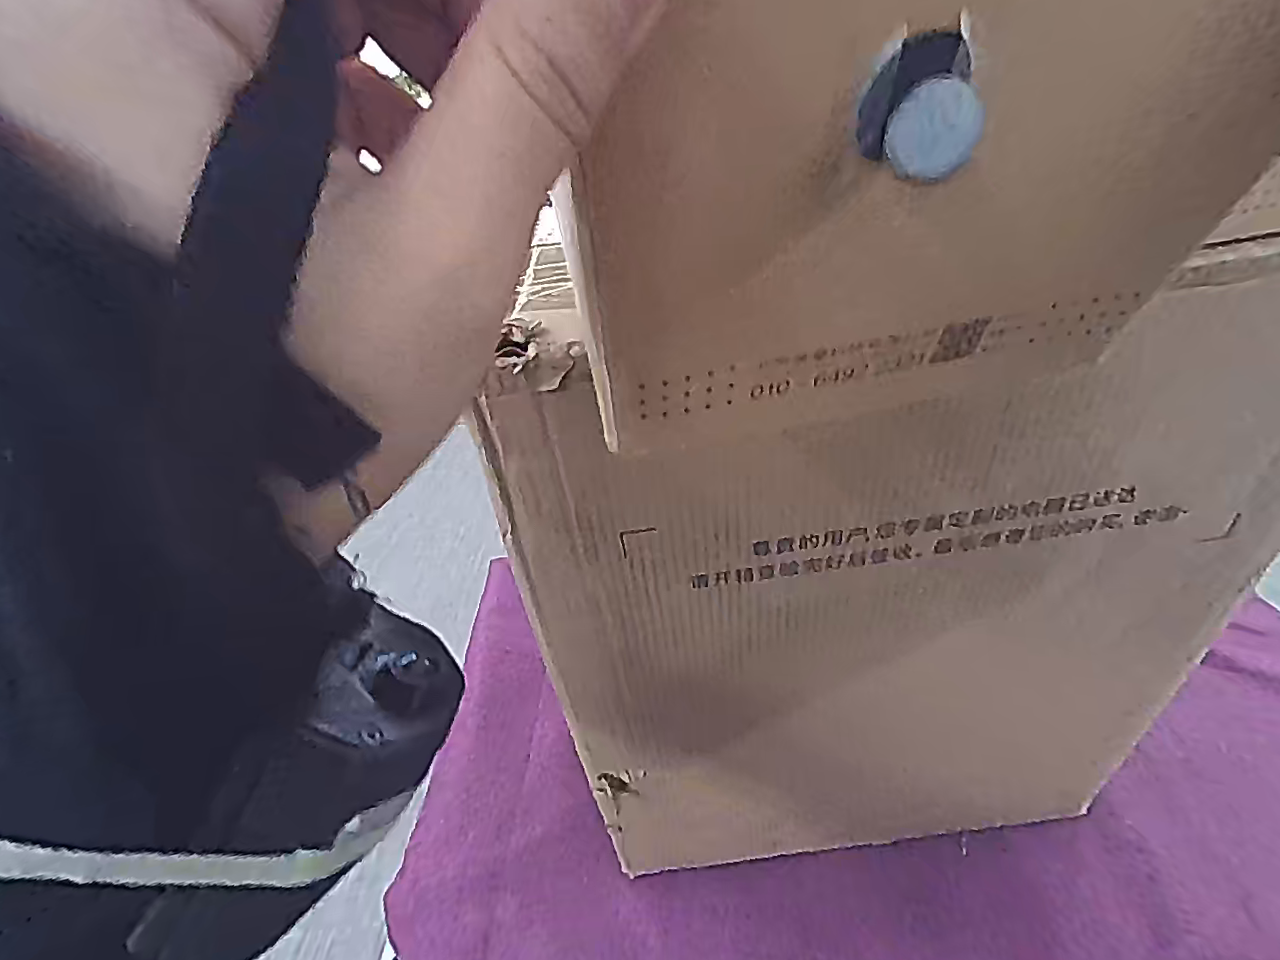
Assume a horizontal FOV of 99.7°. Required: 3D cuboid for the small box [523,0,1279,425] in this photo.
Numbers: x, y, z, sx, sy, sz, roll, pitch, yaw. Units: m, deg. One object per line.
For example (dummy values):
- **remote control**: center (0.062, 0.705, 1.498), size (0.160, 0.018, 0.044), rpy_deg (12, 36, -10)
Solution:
- **small box**: center (0.053, -0.133, 0.155), size (0.168, 0.176, 0.179), rpy_deg (-12, 56, -5)
